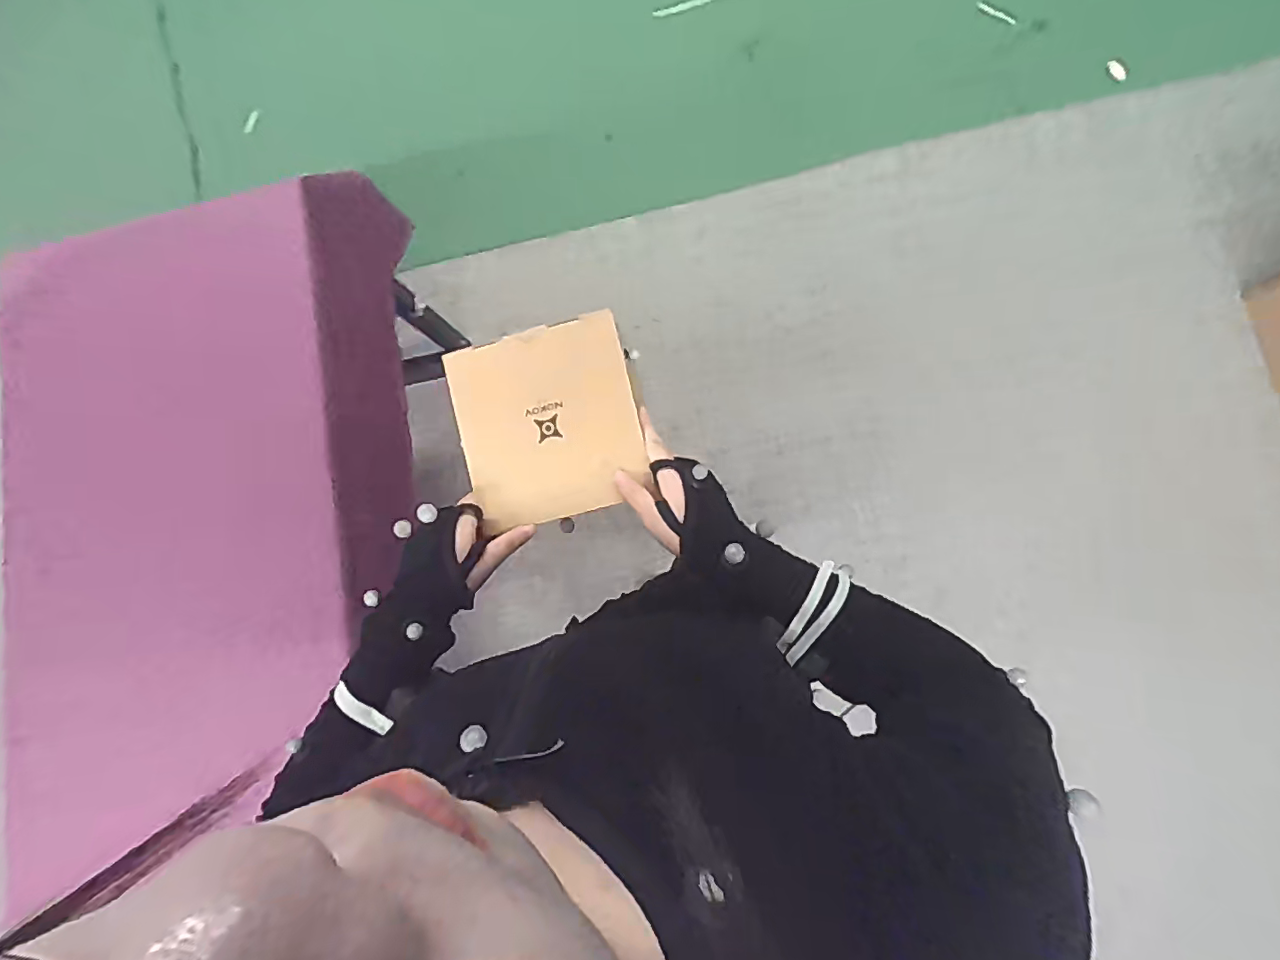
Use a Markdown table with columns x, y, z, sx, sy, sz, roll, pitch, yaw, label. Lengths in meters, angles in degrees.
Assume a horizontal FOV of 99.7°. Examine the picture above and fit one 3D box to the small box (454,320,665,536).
| x | y | z | sx | sy | sz | roll | pitch | yaw | label |
| --- | --- | --- | --- | --- | --- | --- | --- | --- | --- |
| -0.072 | -0.047 | 0.584 | 0.168 | 0.176 | 0.179 | -13 | 87 | 6 | small box |
